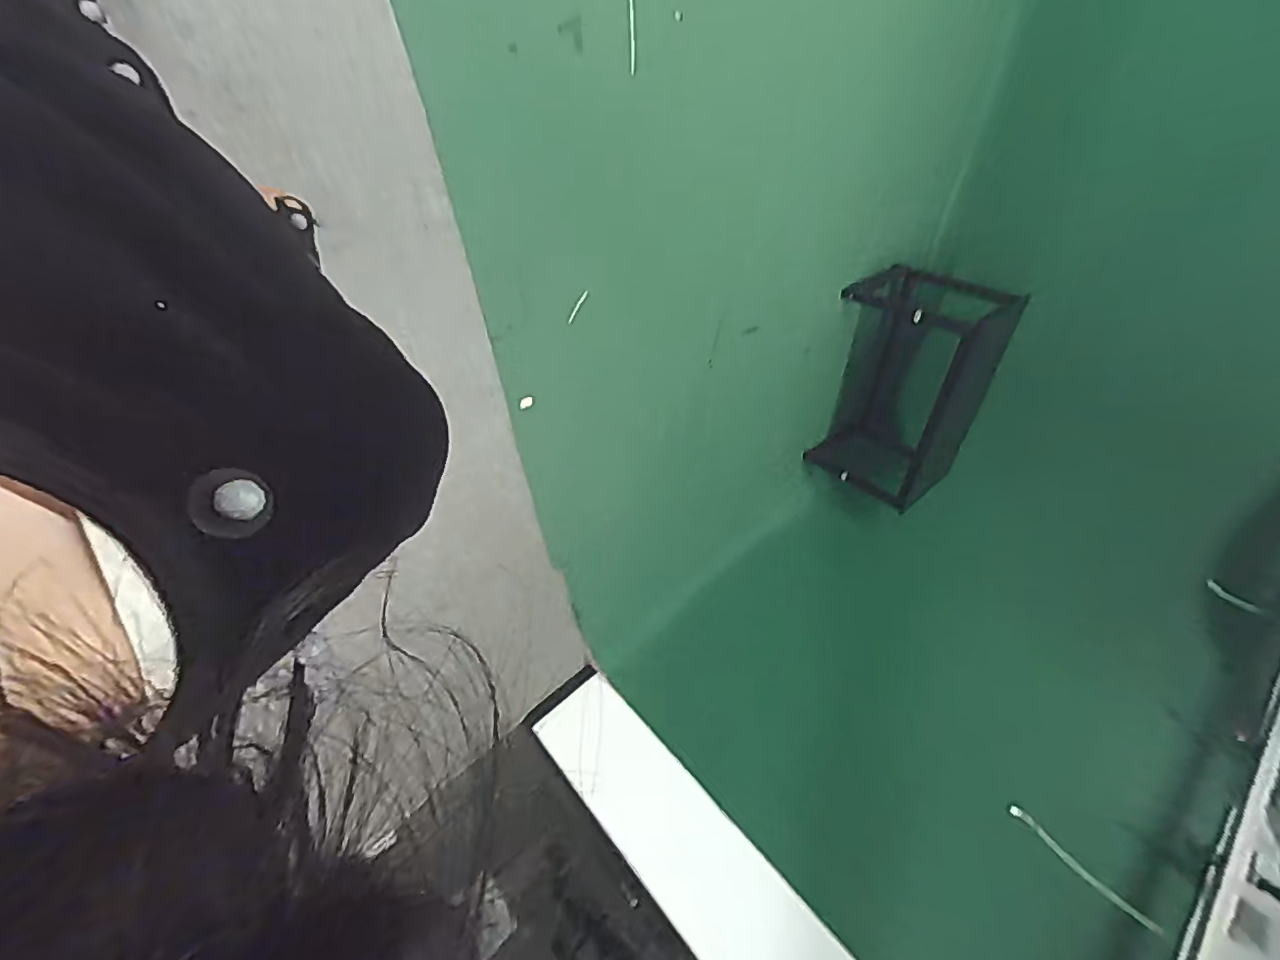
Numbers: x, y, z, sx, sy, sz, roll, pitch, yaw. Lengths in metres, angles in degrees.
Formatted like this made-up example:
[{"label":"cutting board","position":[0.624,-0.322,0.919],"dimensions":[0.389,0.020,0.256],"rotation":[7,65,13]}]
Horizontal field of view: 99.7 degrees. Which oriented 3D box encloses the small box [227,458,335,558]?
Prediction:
[{"label":"small box","position":[-0.937,0.063,1.411],"dimensions":[0.168,0.176,0.179],"rotation":[-28,138,-30]}]
